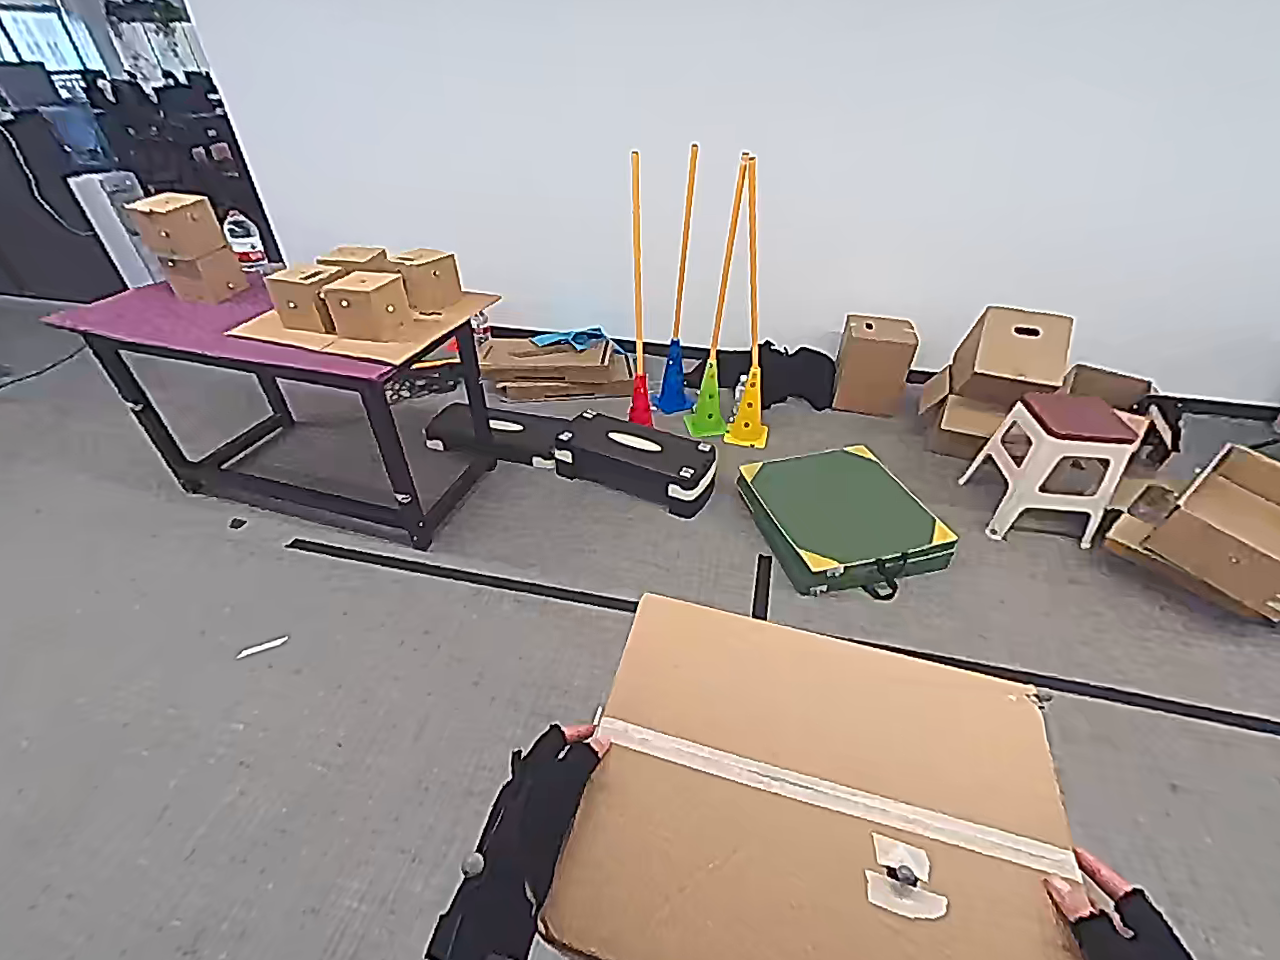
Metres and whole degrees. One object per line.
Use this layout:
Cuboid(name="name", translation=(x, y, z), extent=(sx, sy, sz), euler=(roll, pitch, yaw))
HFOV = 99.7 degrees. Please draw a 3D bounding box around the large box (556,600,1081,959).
Cuboid(name="large box", translation=(0.160, 0.382, 0.598), extent=(0.408, 0.320, 0.320), euler=(11, 47, 11))
